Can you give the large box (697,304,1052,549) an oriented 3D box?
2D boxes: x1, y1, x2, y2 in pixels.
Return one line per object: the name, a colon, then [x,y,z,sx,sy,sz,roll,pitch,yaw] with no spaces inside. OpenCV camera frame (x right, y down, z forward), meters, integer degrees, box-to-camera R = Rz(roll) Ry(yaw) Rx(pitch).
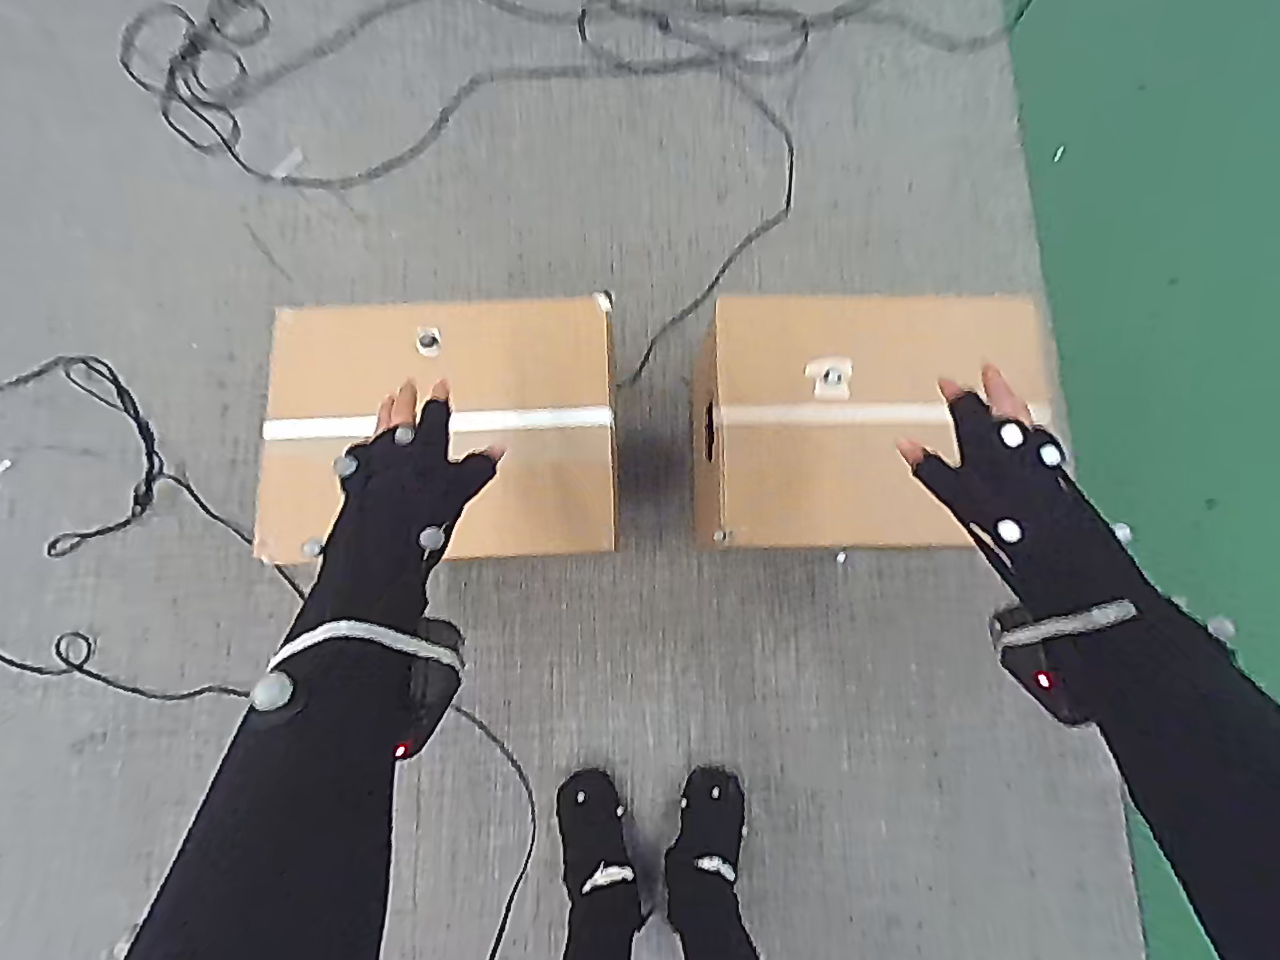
large box: [0.303,-0.053,0.821,0.408,0.320,0.320,0,81,0]
